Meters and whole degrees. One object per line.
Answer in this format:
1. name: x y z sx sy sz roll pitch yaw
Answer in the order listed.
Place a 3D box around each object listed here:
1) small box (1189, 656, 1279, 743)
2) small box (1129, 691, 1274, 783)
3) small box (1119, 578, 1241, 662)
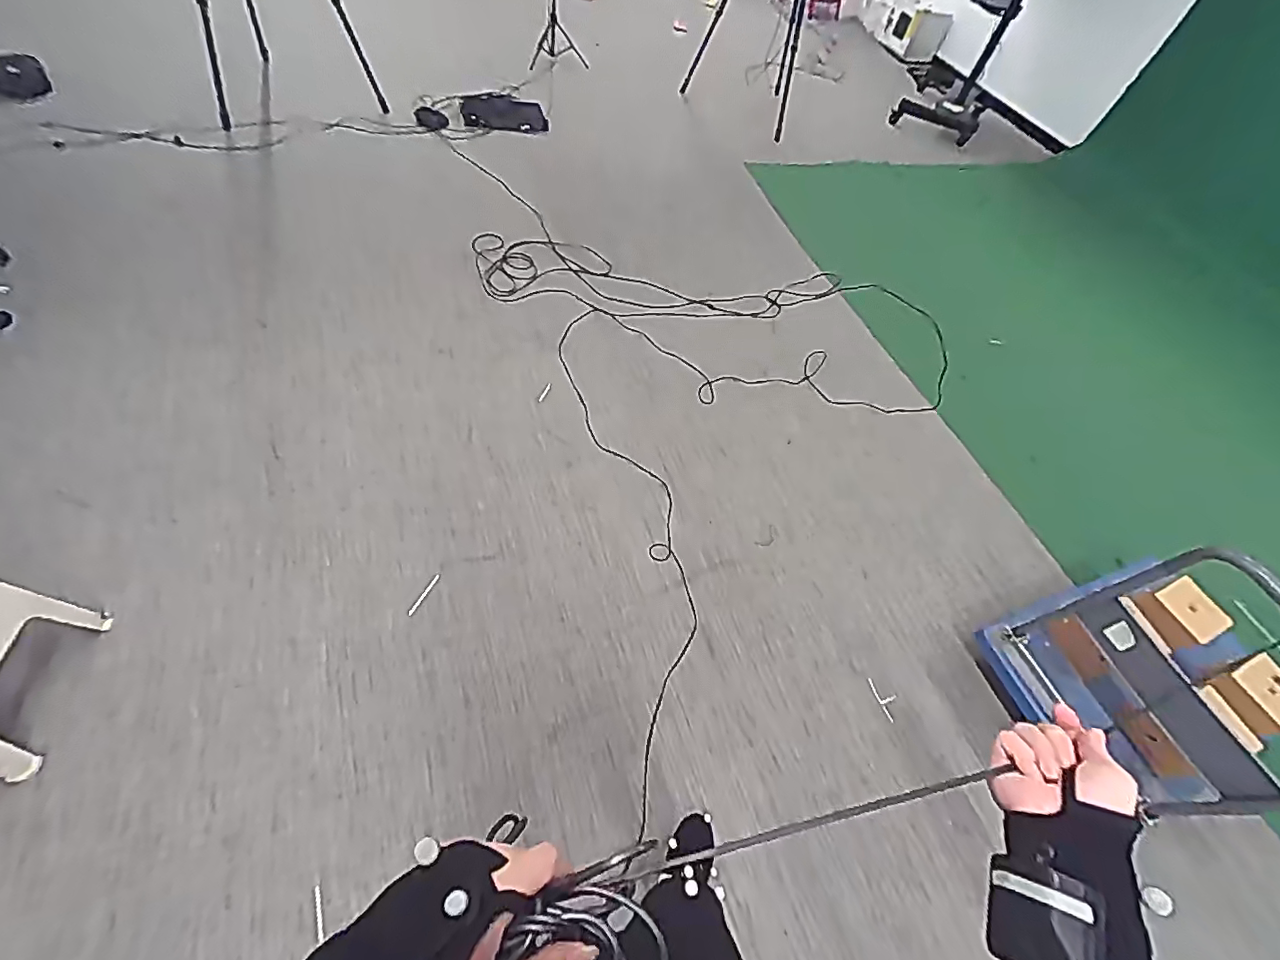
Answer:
1. small box: 1.727 0.624 1.521 0.179 0.176 0.168 -17 60 -20
2. small box: 1.477 0.683 1.436 0.179 0.176 0.168 -13 59 -17
3. small box: 1.621 0.428 1.638 0.179 0.176 0.168 -17 61 -20
